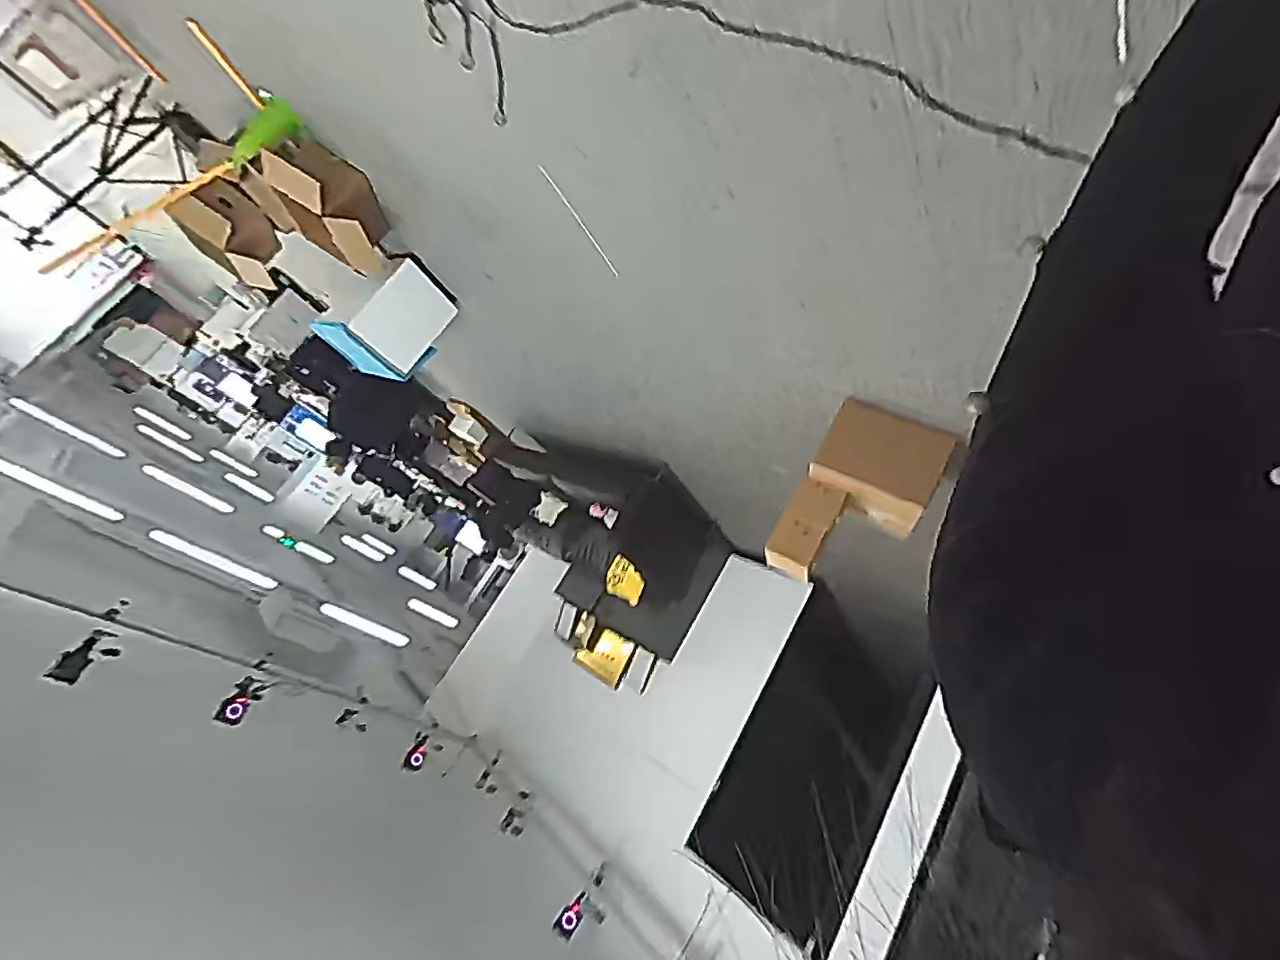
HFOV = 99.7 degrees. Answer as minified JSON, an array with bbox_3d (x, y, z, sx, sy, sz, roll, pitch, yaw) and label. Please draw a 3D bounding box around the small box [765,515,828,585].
[{"bbox_3d":[0.580,0.256,1.997,0.168,0.176,0.179,25,162,27],"label":"small box"}]
